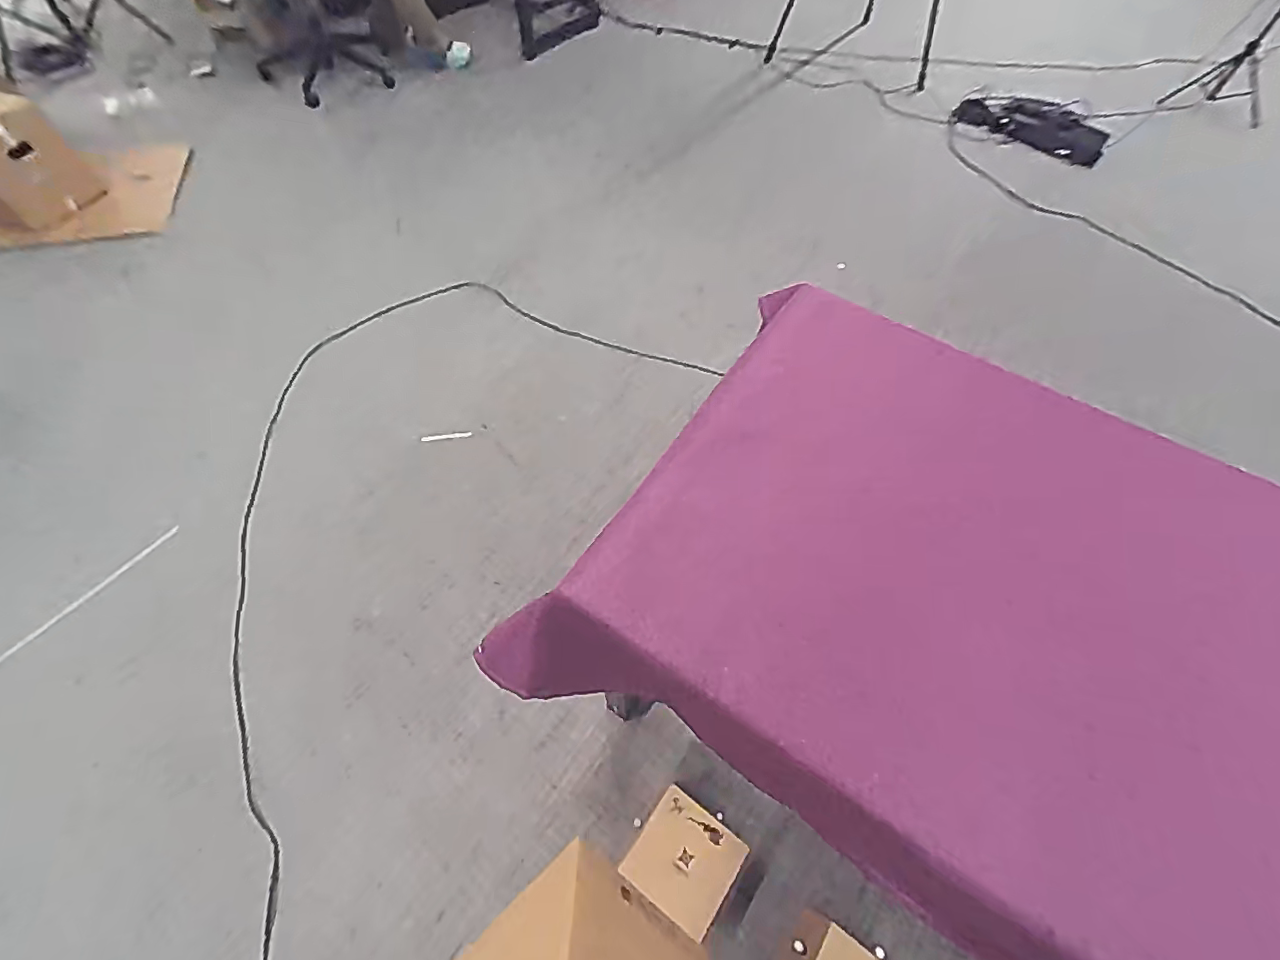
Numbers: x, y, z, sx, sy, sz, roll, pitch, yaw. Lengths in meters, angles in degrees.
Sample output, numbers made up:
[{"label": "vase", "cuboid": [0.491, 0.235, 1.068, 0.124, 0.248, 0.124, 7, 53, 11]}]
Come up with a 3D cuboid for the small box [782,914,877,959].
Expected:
[{"label": "small box", "cuboid": [0.327, 0.859, 0.888, 0.179, 0.176, 0.168, 32, 63, 17]}]
